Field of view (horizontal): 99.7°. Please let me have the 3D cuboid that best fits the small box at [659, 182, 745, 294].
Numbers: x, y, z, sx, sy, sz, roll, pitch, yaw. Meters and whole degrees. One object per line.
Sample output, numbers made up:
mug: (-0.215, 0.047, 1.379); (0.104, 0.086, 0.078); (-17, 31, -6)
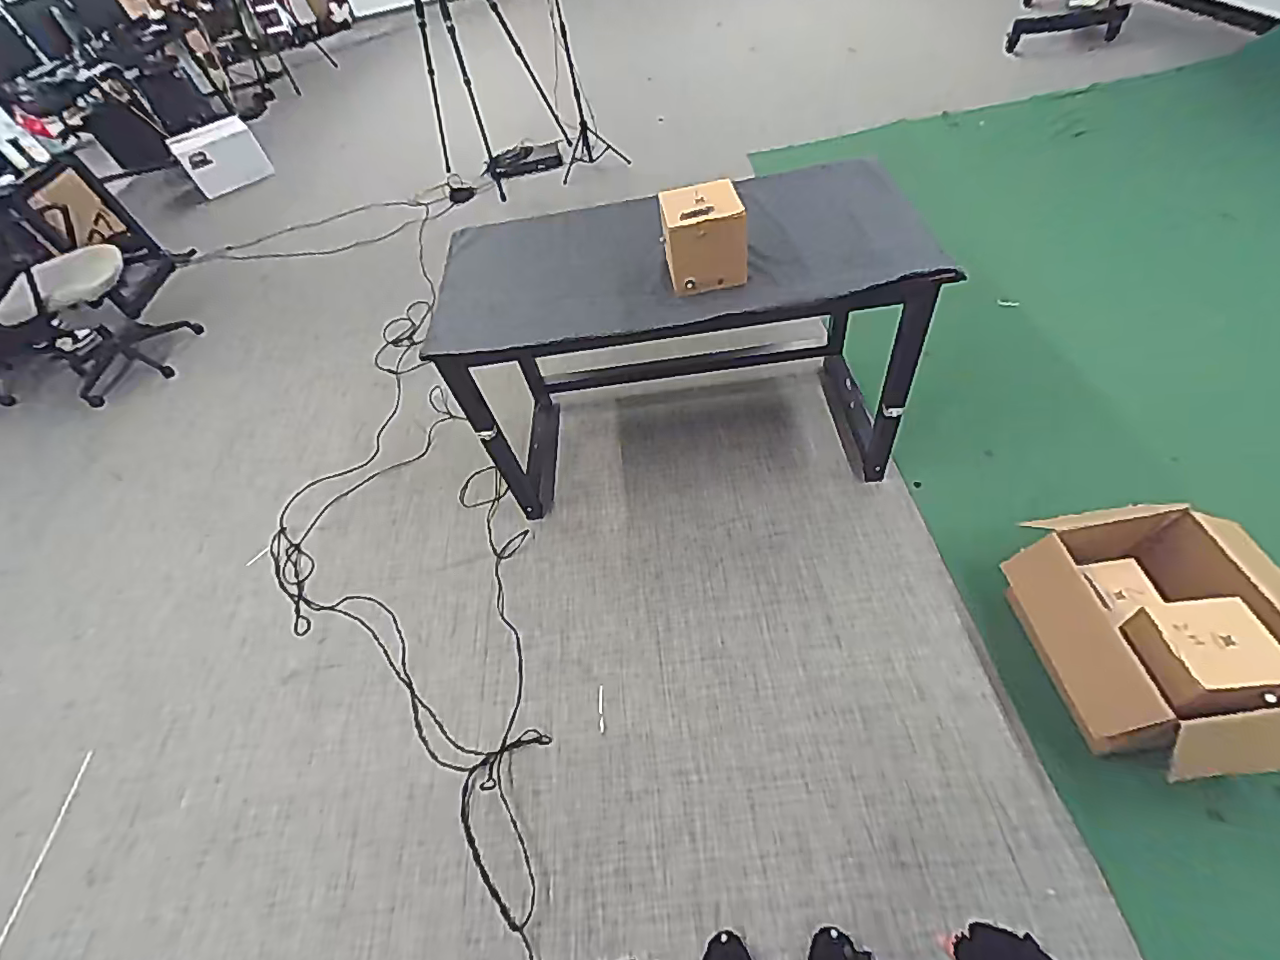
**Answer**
small box: (0.144, -0.546, 1.240); (0.168, 0.176, 0.179); (-10, 50, 3)
